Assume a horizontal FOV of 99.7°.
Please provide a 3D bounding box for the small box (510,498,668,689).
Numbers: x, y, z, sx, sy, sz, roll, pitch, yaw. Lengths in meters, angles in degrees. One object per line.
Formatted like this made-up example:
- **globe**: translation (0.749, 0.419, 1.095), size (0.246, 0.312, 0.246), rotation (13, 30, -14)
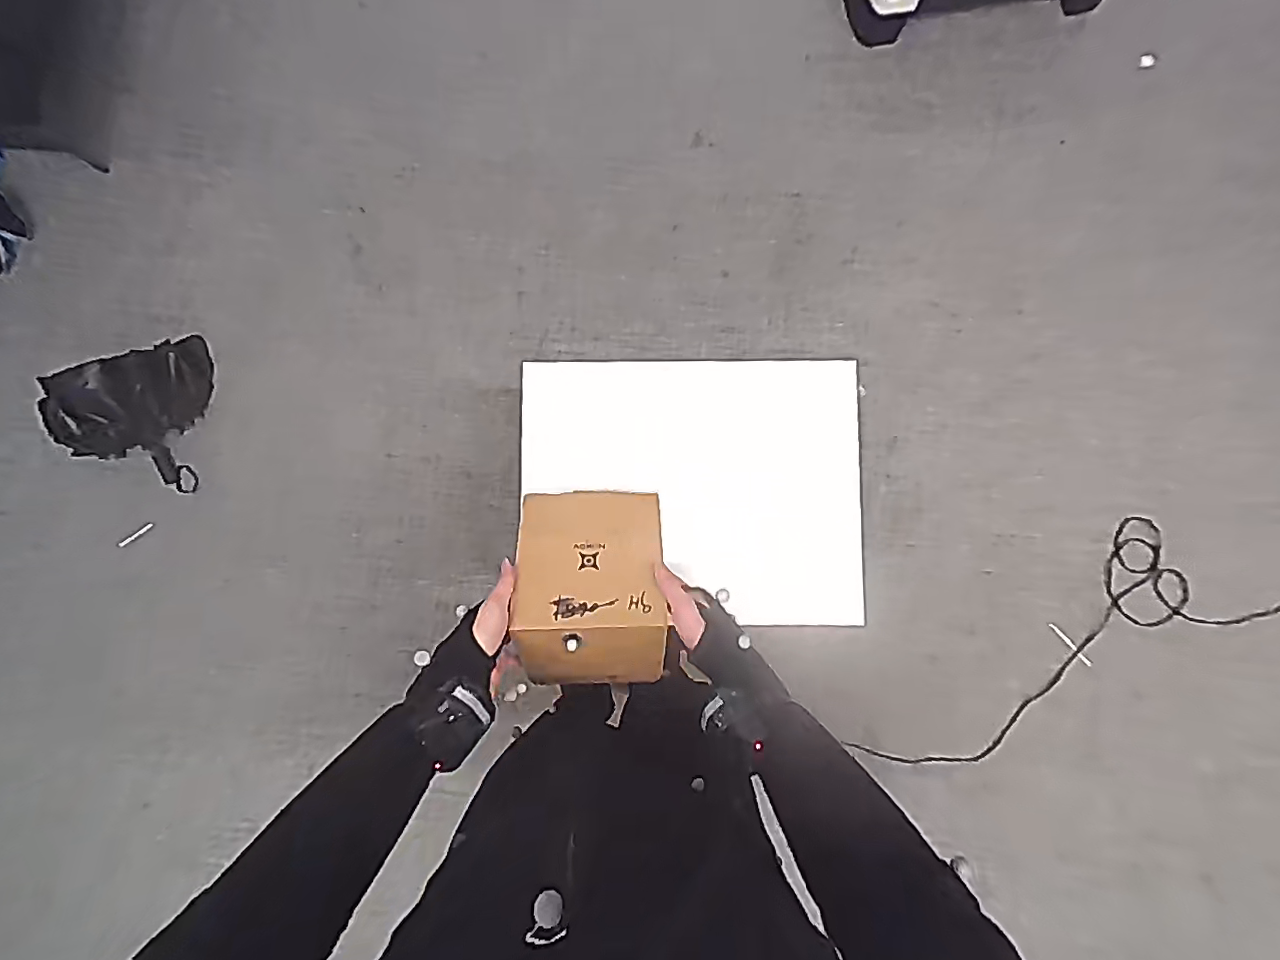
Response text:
- **small box**: translation (-0.058, 0.140, 0.665), size (0.168, 0.176, 0.179), rotation (-1, 51, -3)
